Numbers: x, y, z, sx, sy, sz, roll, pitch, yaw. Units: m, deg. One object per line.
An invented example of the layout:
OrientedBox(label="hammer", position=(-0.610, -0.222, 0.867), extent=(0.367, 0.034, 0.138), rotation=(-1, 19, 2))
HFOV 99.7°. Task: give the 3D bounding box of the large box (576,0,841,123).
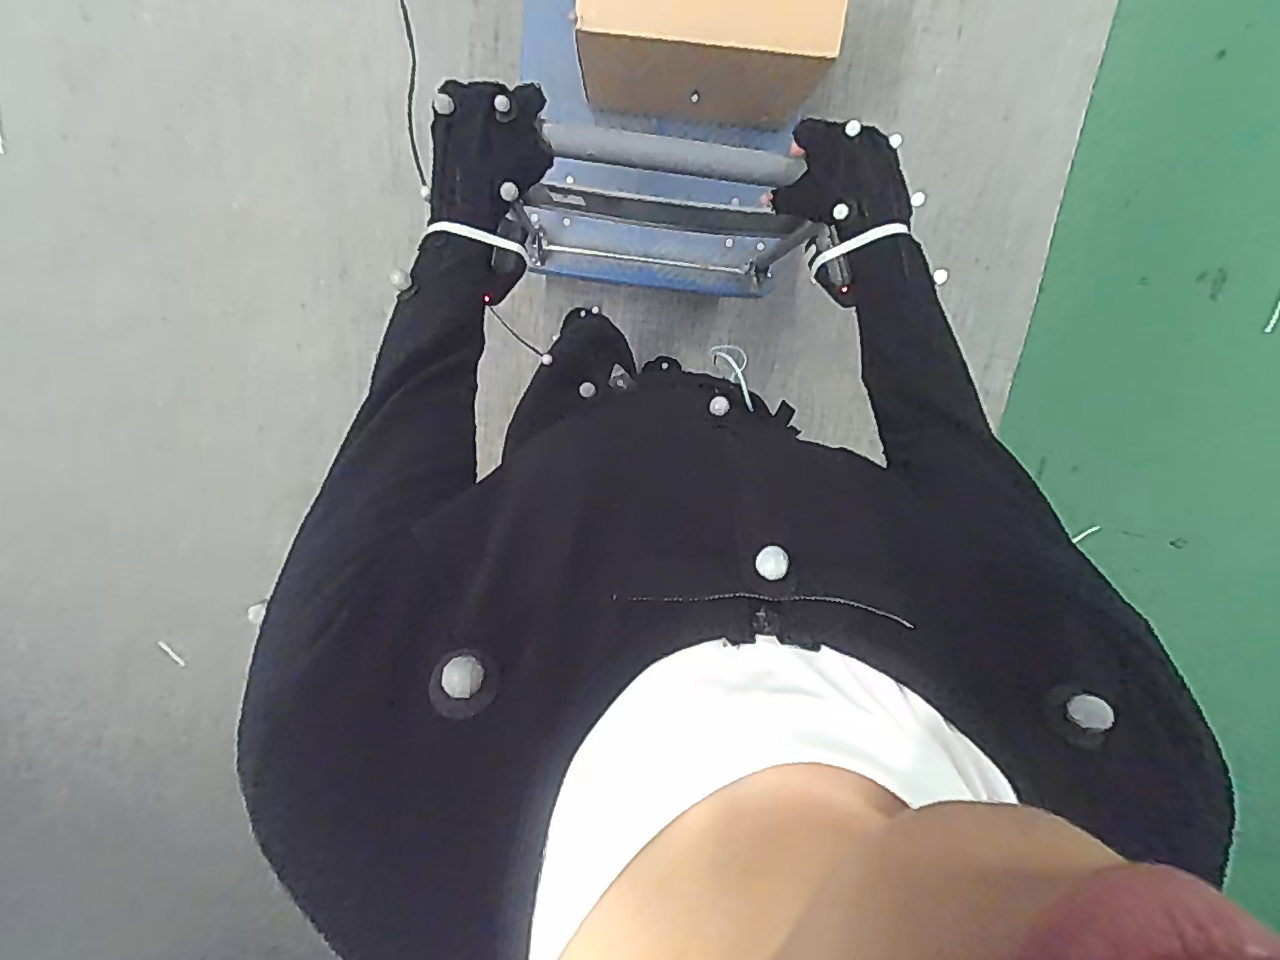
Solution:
OrientedBox(label="large box", position=(0.114, -0.853, 0.932), extent=(0.408, 0.320, 0.320), rotation=(5, 105, -1))
